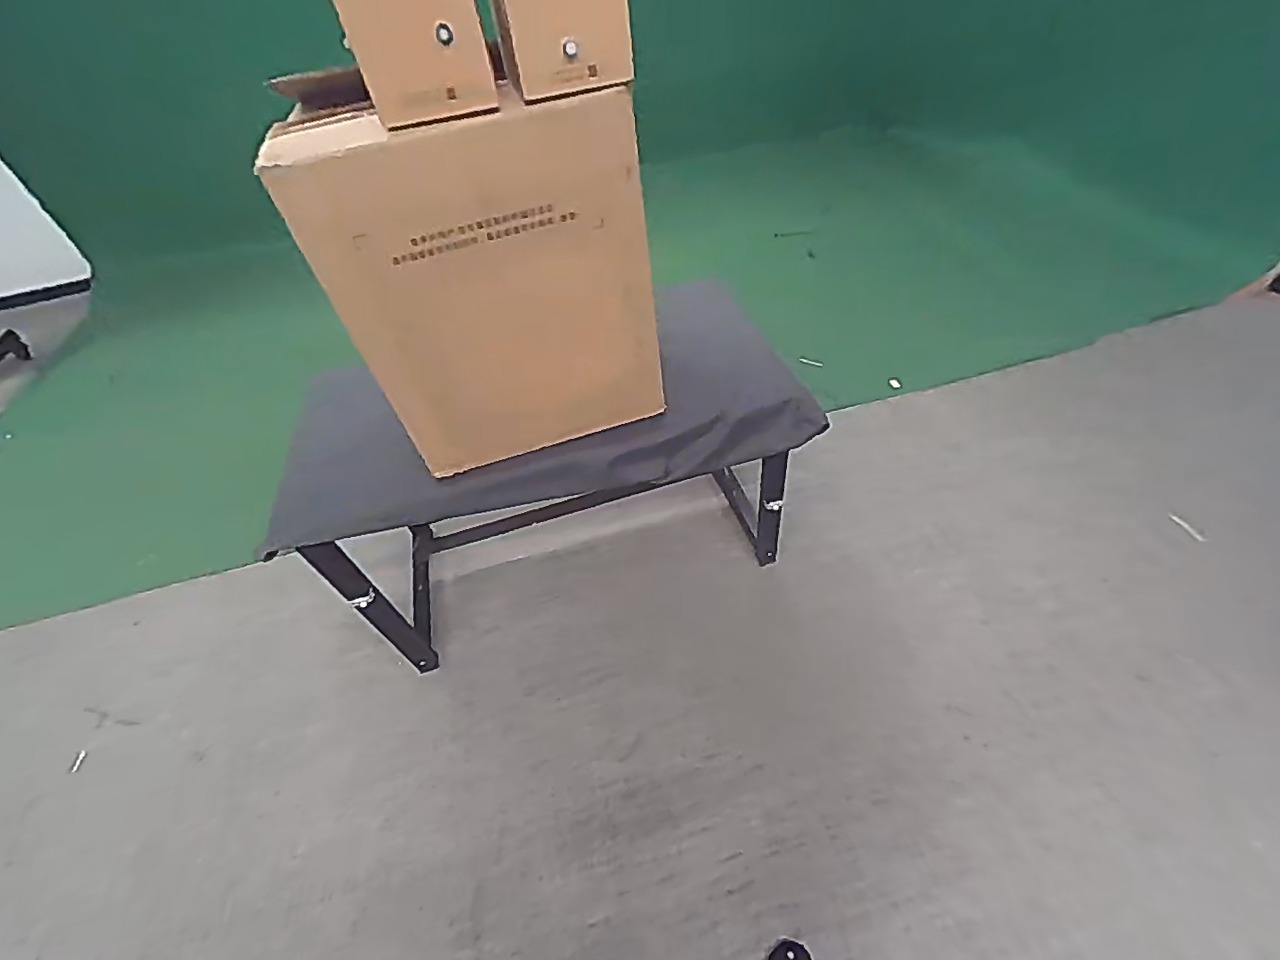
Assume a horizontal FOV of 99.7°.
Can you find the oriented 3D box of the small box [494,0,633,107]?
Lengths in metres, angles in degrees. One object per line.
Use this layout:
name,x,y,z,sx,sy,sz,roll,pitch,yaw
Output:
small box,-0.116,-0.661,0.778,0.168,0.176,0.179,-17,49,-8
